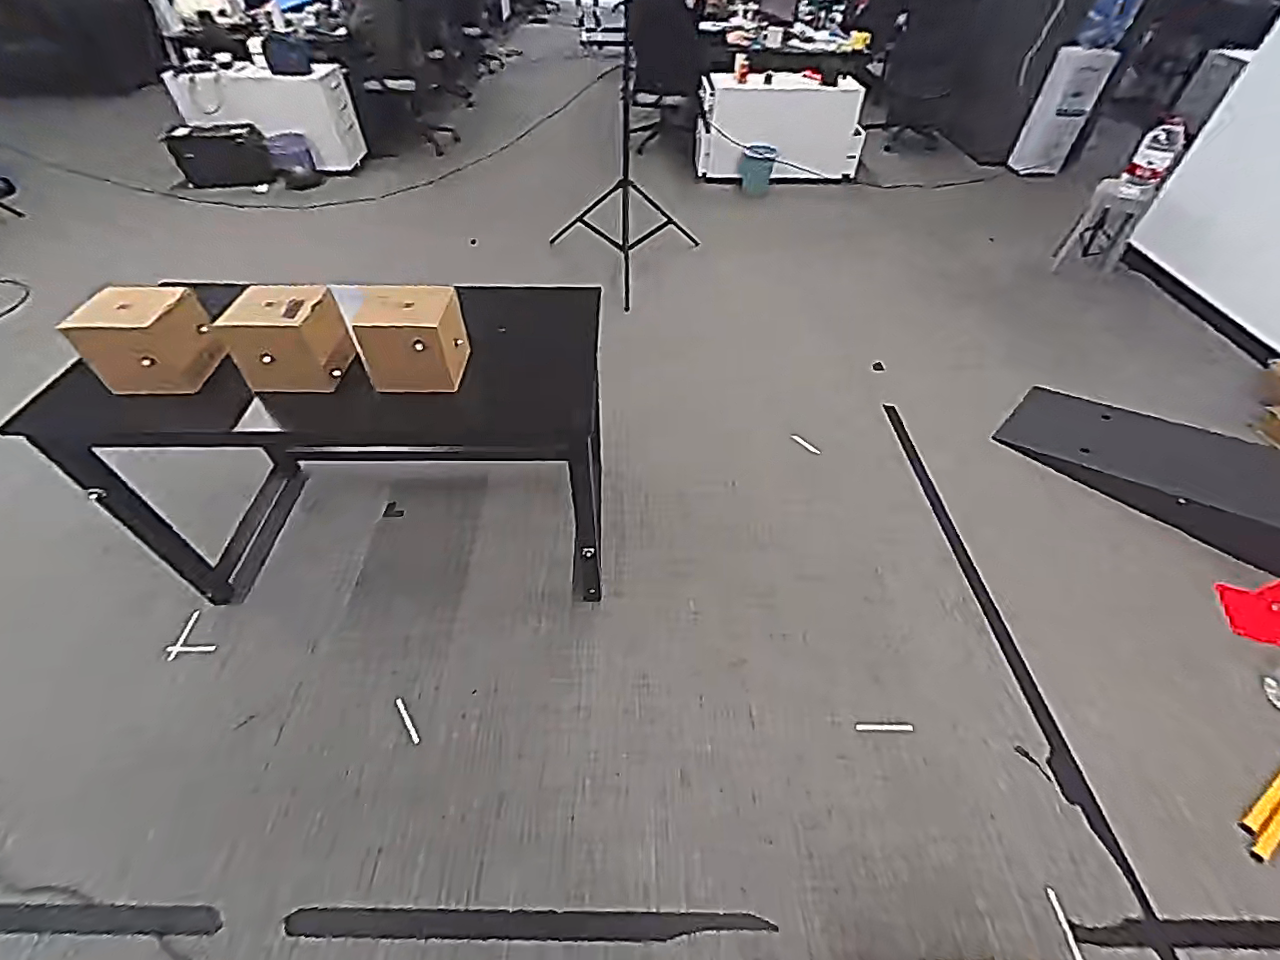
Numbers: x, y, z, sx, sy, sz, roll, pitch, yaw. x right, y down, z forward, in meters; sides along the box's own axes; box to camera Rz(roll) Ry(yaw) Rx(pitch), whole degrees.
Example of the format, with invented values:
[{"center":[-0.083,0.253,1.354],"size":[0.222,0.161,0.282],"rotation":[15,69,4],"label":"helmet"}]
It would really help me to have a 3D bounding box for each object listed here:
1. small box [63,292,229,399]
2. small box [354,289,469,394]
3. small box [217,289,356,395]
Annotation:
[{"center":[-1.058,-0.292,1.181],"size":[0.179,0.176,0.168],"rotation":[-2,47,-3],"label":"small box"},{"center":[-0.493,-0.303,1.200],"size":[0.179,0.176,0.168],"rotation":[-1,46,-2],"label":"small box"},{"center":[-0.763,-0.302,1.194],"size":[0.179,0.176,0.168],"rotation":[0,47,0],"label":"small box"}]
